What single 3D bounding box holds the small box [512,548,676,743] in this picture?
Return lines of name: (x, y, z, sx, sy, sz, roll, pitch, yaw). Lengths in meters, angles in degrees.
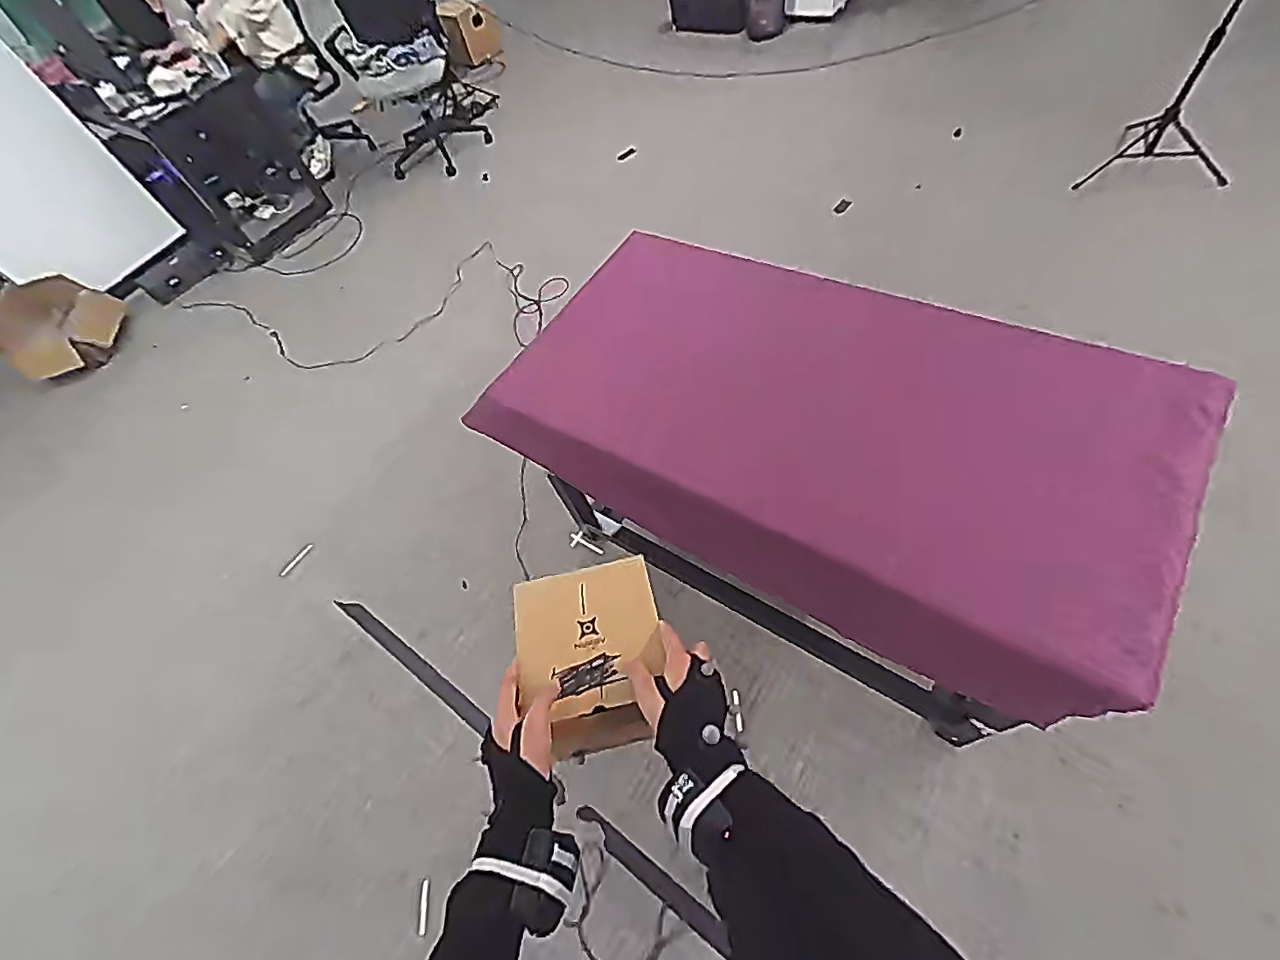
small box: (-0.054, 0.215, 0.679, 0.168, 0.176, 0.179, -13, 53, -3)
